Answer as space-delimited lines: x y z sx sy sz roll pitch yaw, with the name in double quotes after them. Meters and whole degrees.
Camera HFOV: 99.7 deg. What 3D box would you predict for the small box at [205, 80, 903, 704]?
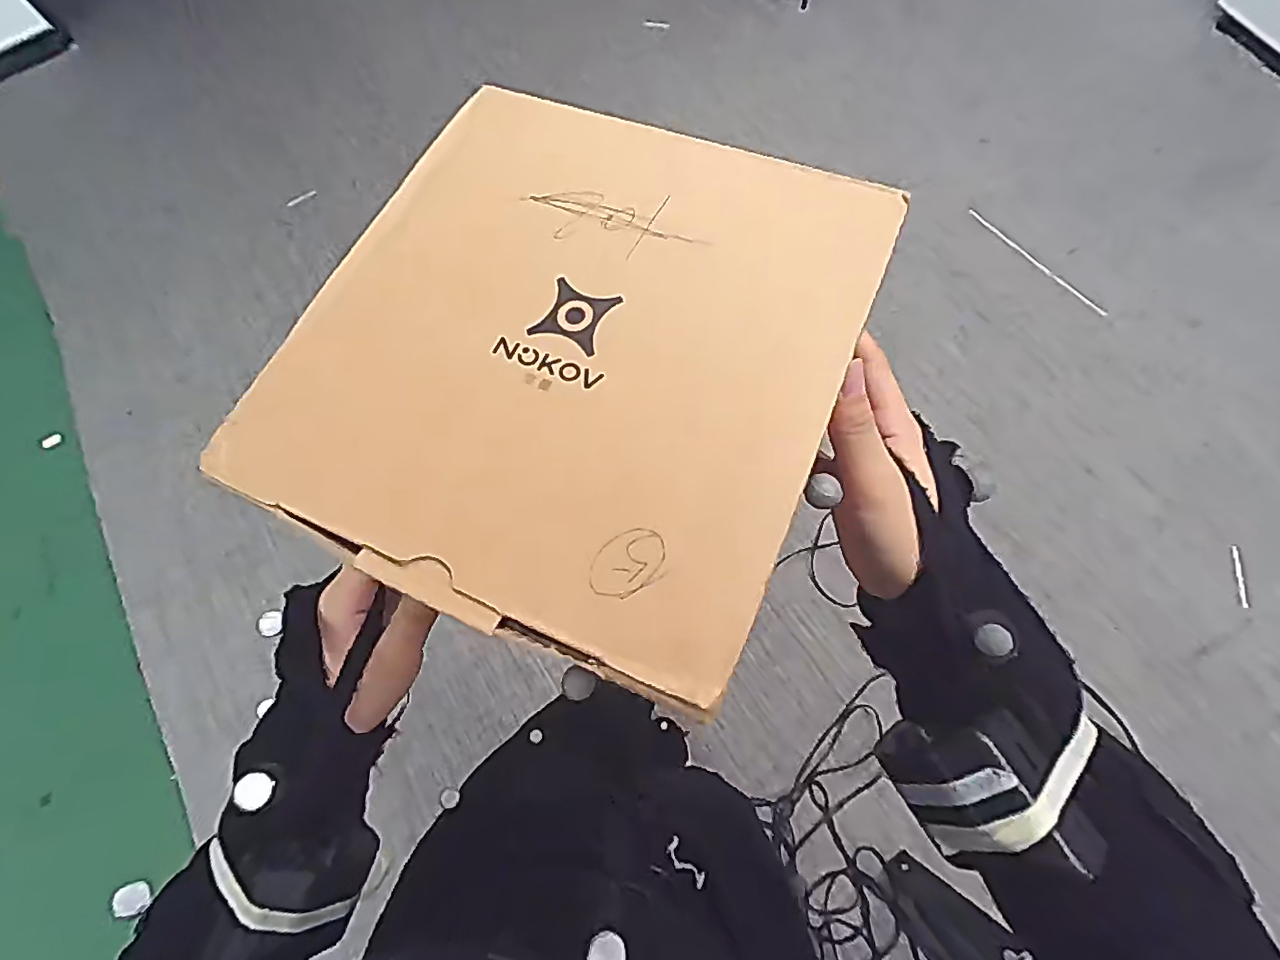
-0.016 -0.022 0.242 0.168 0.176 0.179 21 72 11 "small box"
